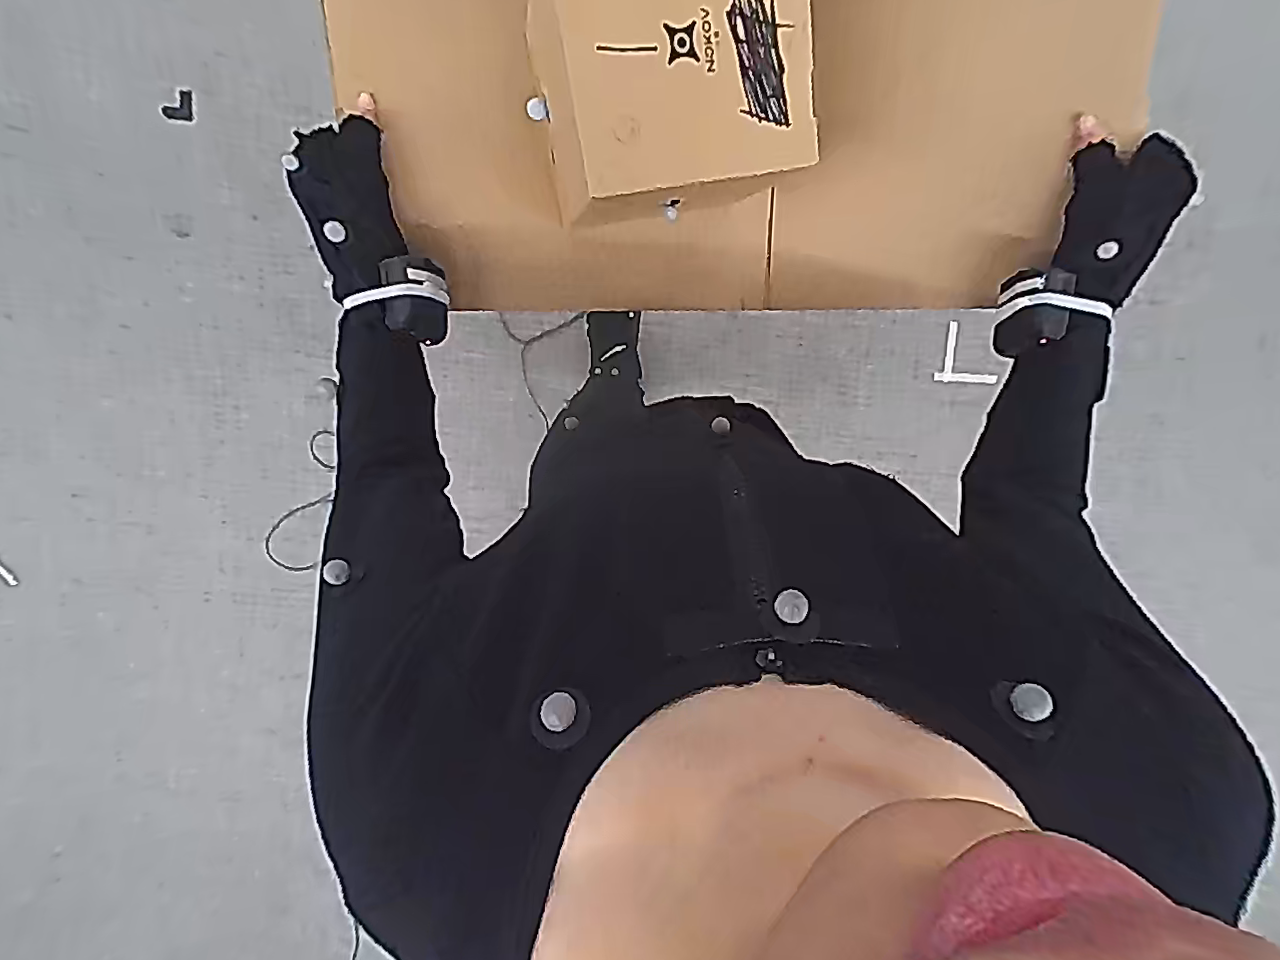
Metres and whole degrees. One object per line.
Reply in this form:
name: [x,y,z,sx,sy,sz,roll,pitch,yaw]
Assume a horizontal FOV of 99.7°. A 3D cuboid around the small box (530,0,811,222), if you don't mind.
small box: [0.016,-0.320,0.441,0.179,0.176,0.168,-13,109,-9]
